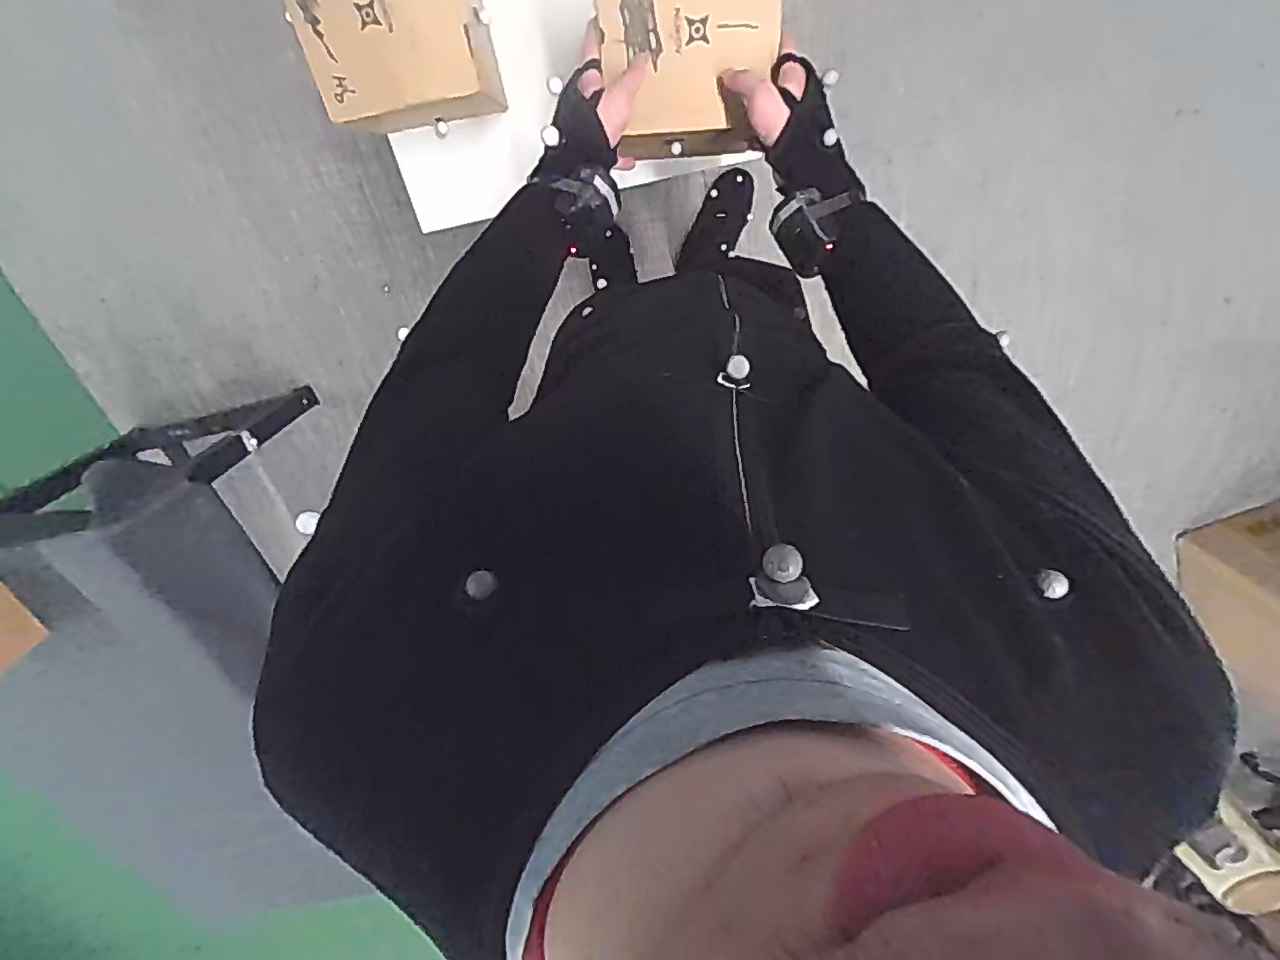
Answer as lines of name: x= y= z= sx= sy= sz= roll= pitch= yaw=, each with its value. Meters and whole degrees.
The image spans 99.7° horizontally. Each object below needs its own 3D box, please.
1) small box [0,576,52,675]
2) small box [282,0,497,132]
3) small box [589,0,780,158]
small box: x=-1.166 y=0.256 z=0.888 sx=0.168 sy=0.176 sz=0.179 roll=-9 pitch=121 yaw=5
small box: x=-0.275 y=-0.514 z=0.621 sx=0.179 sy=0.176 sz=0.168 roll=-10 pitch=119 yaw=3
small box: x=0.042 y=-0.451 z=0.573 sx=0.179 sy=0.176 sz=0.168 roll=-4 pitch=113 yaw=0
